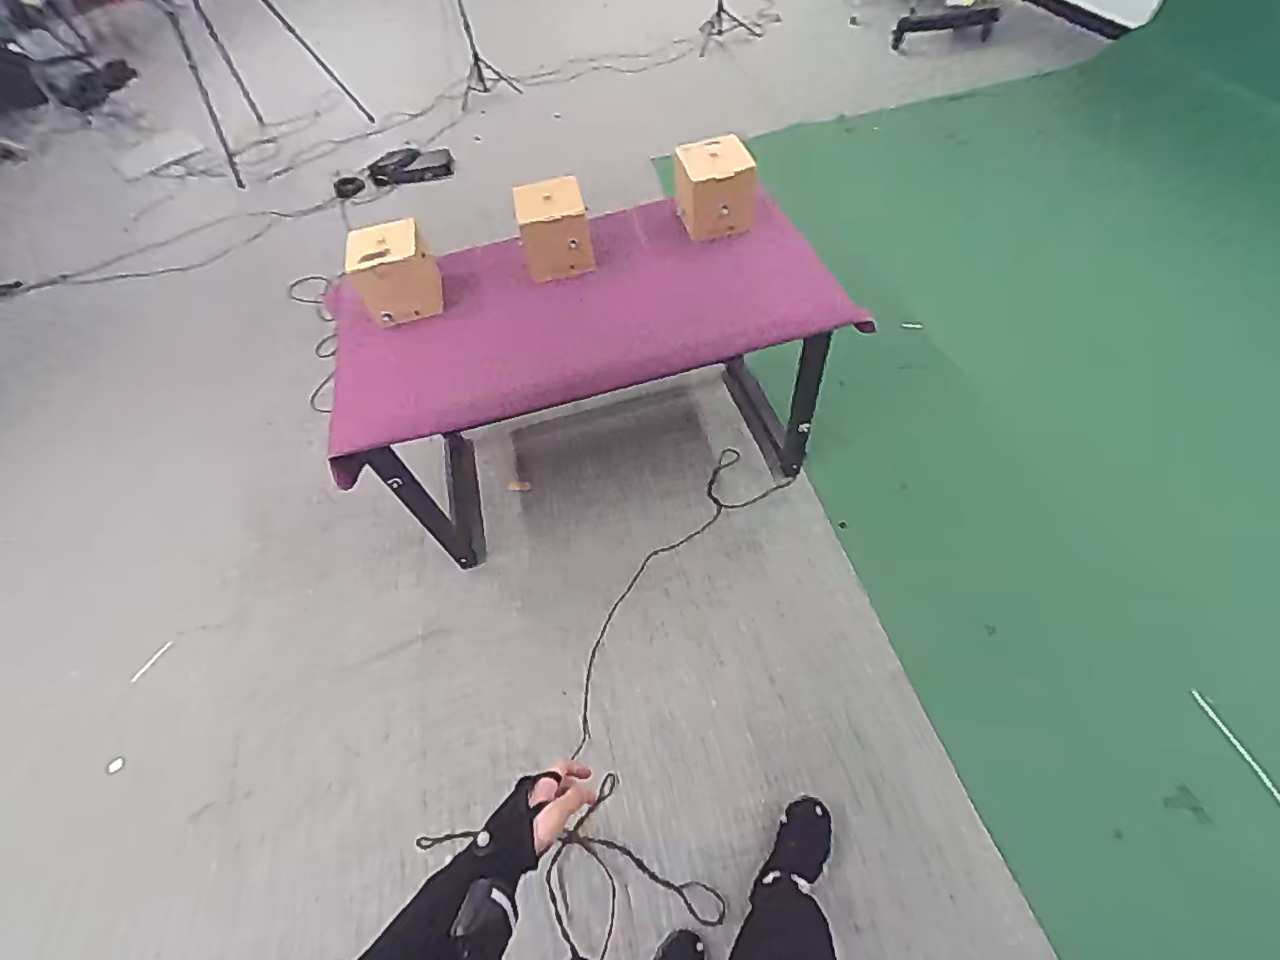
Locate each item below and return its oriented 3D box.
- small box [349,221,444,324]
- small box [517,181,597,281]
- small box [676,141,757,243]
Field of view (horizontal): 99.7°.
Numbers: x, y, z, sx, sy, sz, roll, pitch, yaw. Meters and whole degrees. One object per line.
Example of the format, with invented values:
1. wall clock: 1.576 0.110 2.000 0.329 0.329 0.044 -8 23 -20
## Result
1. small box: -0.605 -0.513 1.362 0.168 0.176 0.179 -14 55 -4
2. small box: -0.213 -0.636 1.402 0.168 0.176 0.179 -12 56 -2
3. small box: 0.198 -0.748 1.424 0.168 0.176 0.179 -14 58 -2
